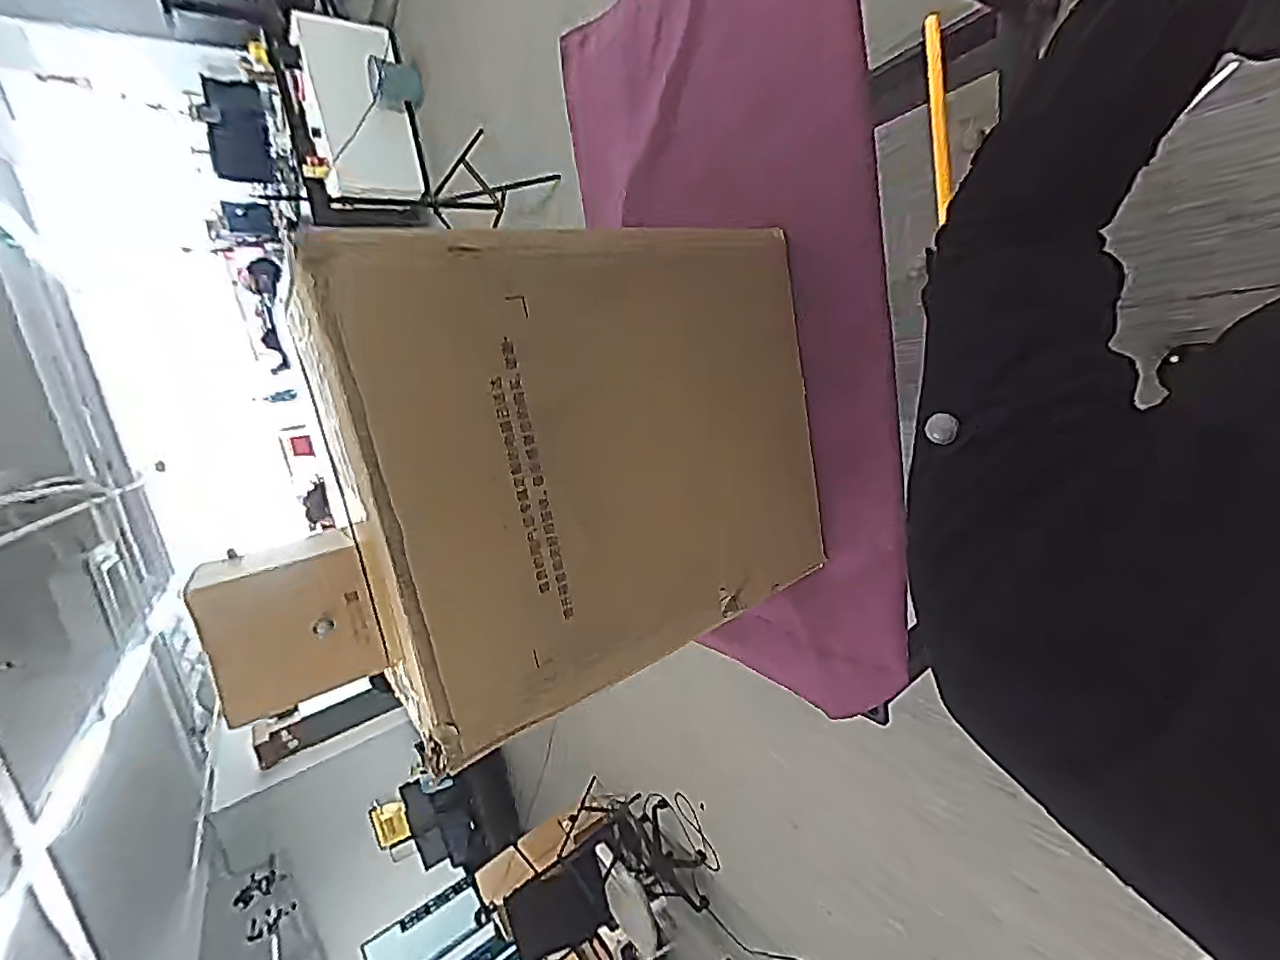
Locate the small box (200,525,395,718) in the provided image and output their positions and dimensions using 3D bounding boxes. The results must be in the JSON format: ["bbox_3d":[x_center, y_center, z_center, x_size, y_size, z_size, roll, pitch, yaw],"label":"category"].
[{"bbox_3d":[-0.431,0.164,0.696,0.179,0.176,0.168,5,109,55],"label":"small box"}]
